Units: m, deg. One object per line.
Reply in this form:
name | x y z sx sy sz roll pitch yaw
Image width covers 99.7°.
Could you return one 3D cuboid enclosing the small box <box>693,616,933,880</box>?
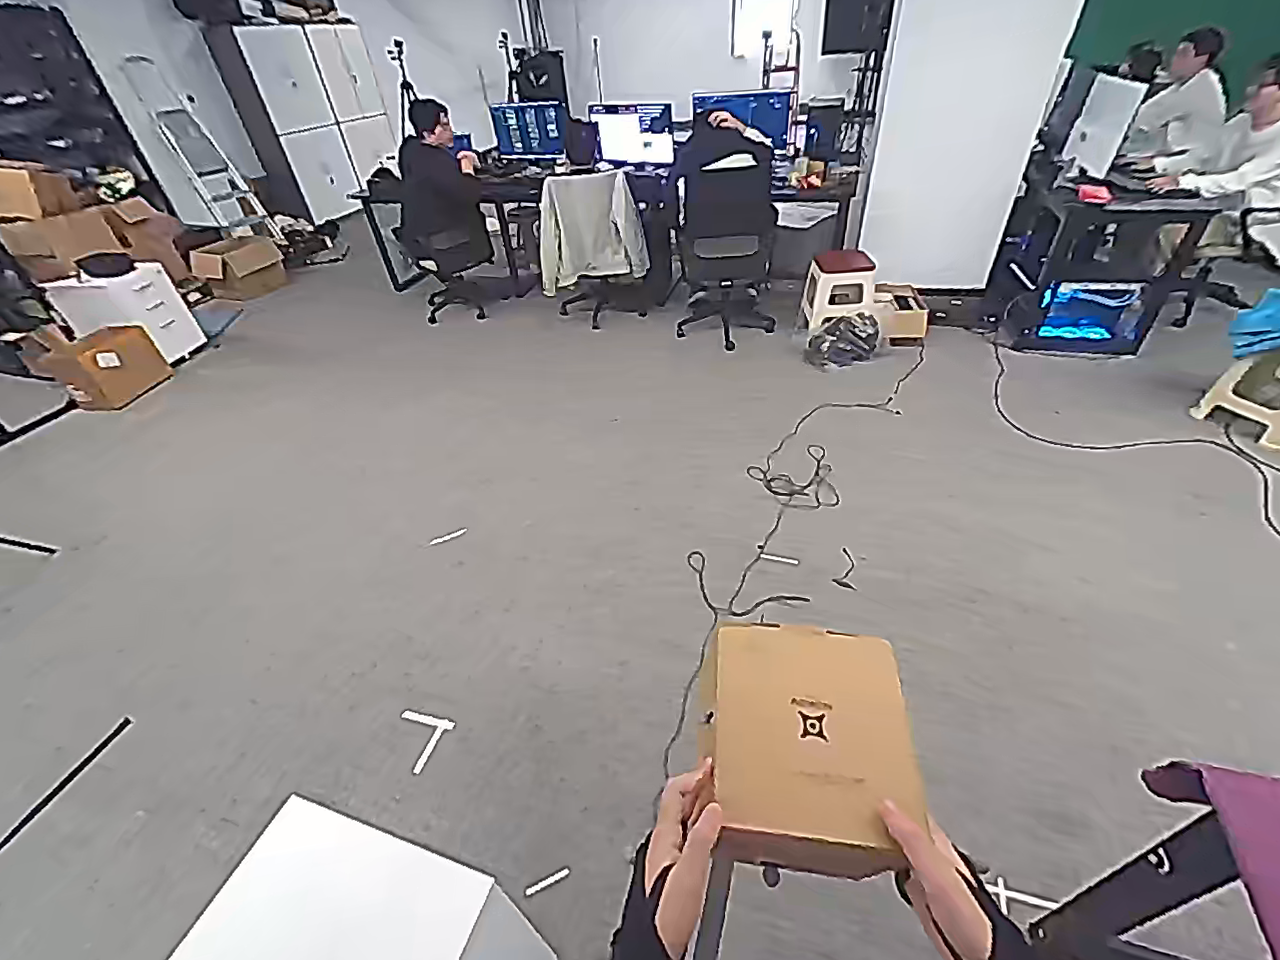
small box | 0.143 0.257 0.518 0.168 0.176 0.179 6 49 3
